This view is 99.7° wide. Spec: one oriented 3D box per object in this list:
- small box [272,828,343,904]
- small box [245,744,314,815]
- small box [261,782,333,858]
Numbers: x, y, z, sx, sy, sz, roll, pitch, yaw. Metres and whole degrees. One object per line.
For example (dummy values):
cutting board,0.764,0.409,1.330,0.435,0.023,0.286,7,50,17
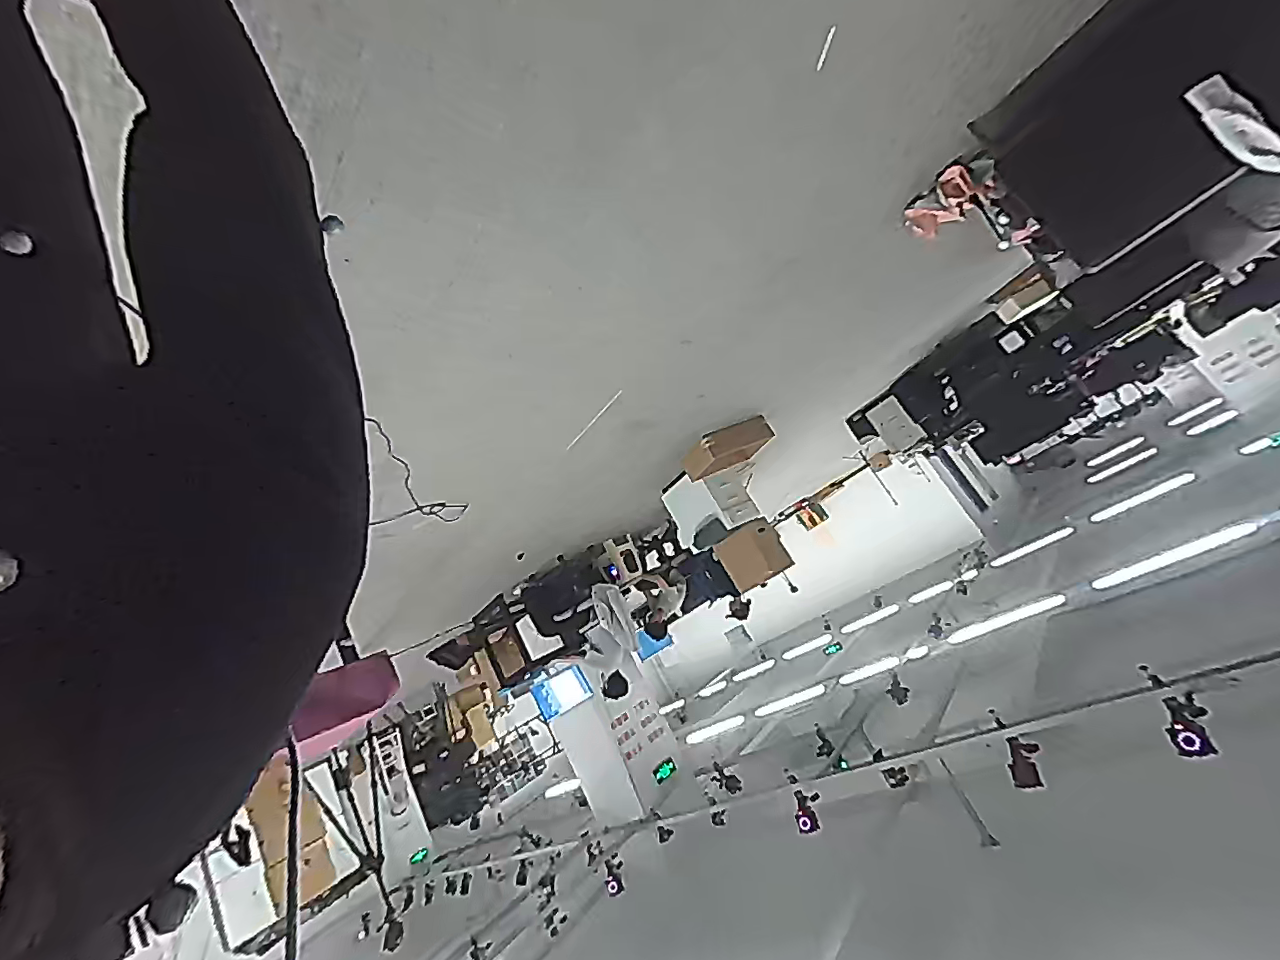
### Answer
small box,-1.243,1.431,2.012,0.179,0.176,0.168,-41,162,35
small box,-1.398,1.153,2.091,0.179,0.176,0.168,-39,162,36
small box,-1.311,1.289,2.058,0.168,0.176,0.179,-39,162,34
